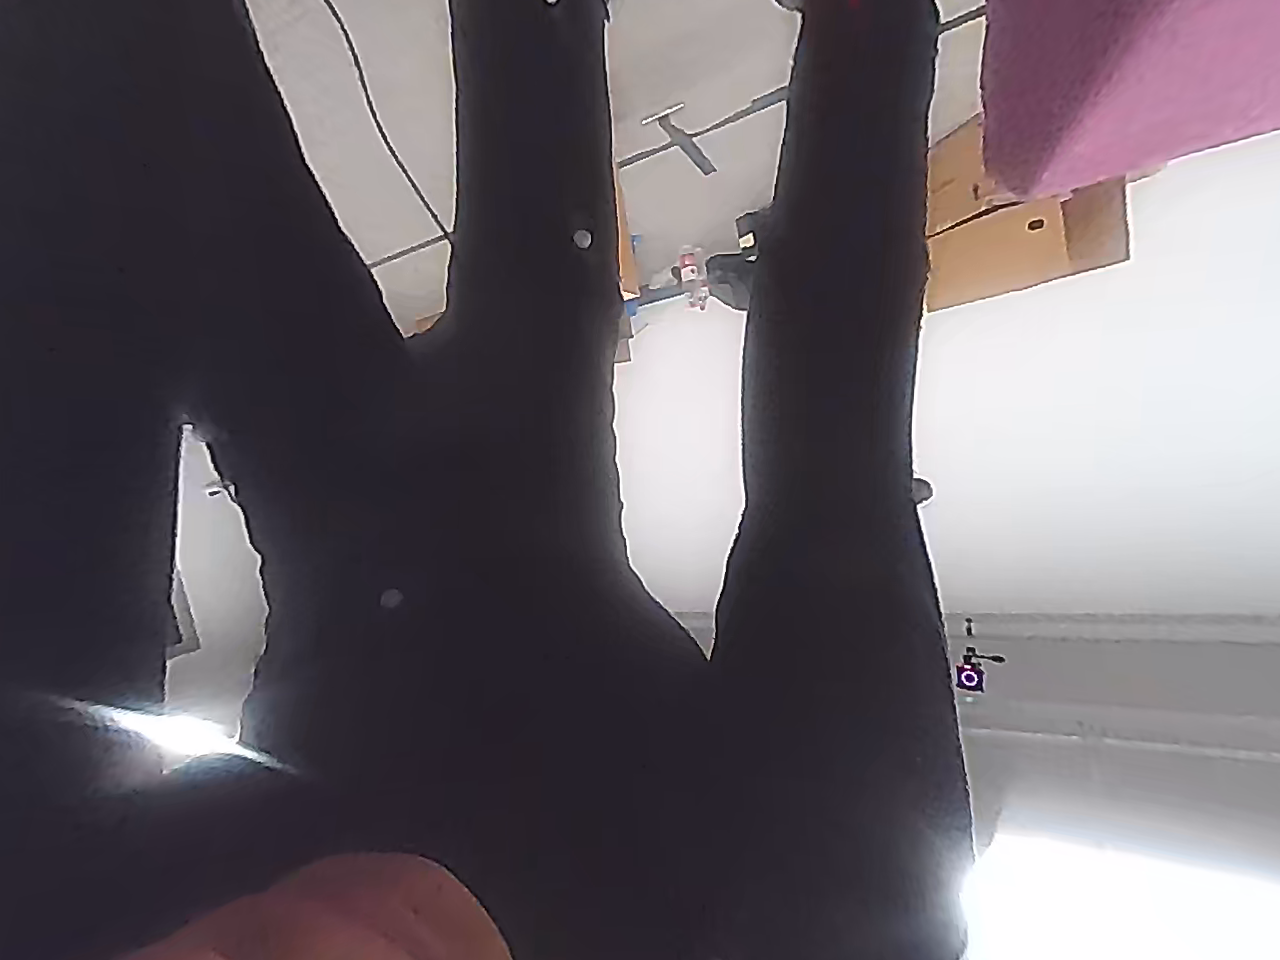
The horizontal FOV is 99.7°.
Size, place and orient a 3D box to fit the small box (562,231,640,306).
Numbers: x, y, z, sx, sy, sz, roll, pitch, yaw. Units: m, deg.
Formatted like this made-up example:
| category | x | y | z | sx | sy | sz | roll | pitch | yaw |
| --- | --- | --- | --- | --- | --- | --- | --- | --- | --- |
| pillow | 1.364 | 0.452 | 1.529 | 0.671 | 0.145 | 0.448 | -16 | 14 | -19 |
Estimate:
| category | x | y | z | sx | sy | sz | roll | pitch | yaw |
| --- | --- | --- | --- | --- | --- | --- | --- | --- | --- |
| small box | -0.116 | -0.638 | 1.641 | 0.168 | 0.176 | 0.179 | -5 | -172 | 26 |
